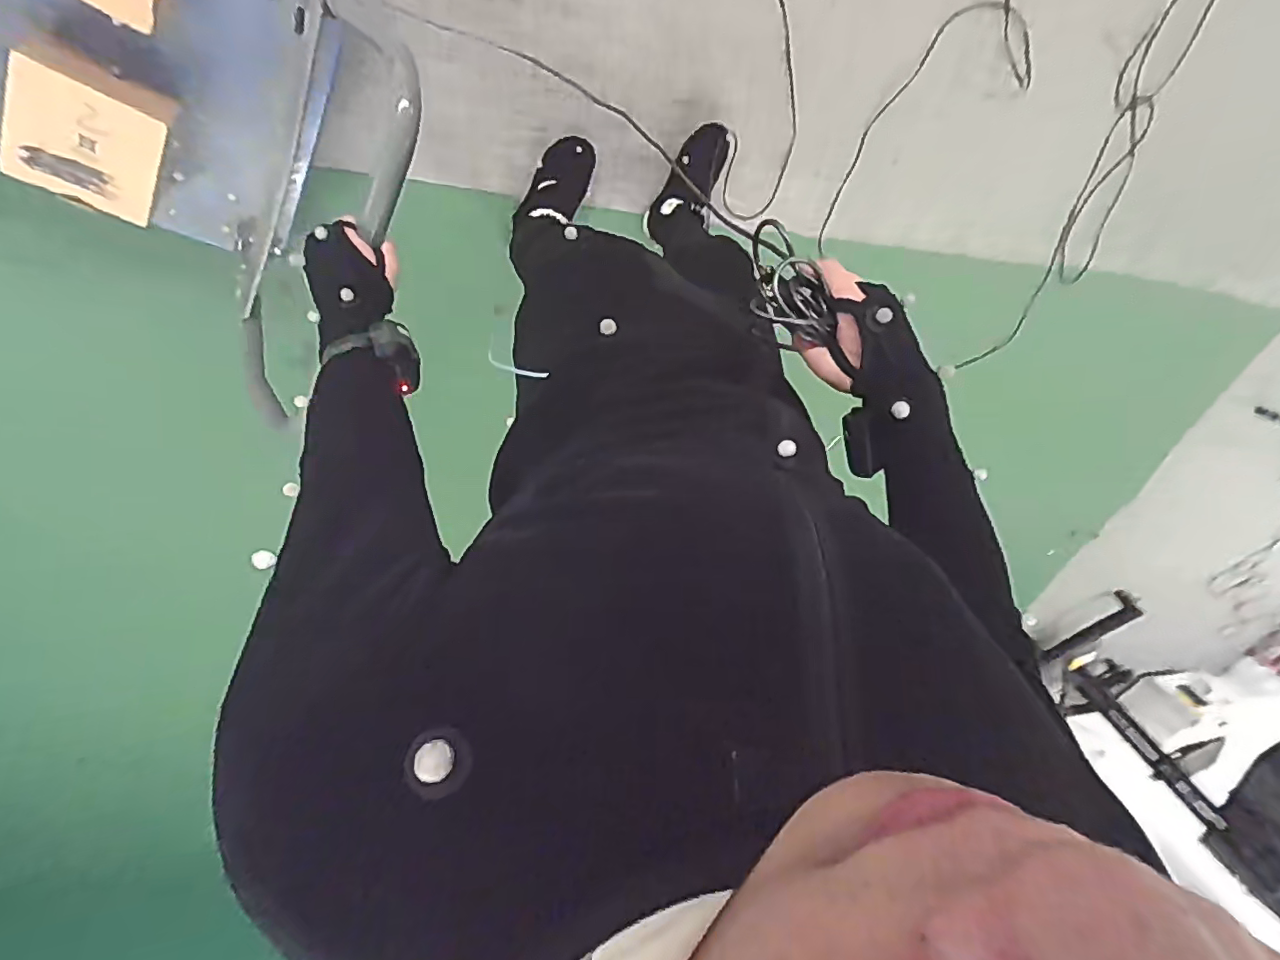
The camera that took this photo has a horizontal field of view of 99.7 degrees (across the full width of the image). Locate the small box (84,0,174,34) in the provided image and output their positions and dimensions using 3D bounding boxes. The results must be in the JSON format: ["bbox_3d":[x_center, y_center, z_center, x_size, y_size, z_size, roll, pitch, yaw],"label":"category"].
[{"bbox_3d":[-0.740,-0.751,0.723,0.179,0.176,0.168,13,124,-41],"label":"small box"}]
